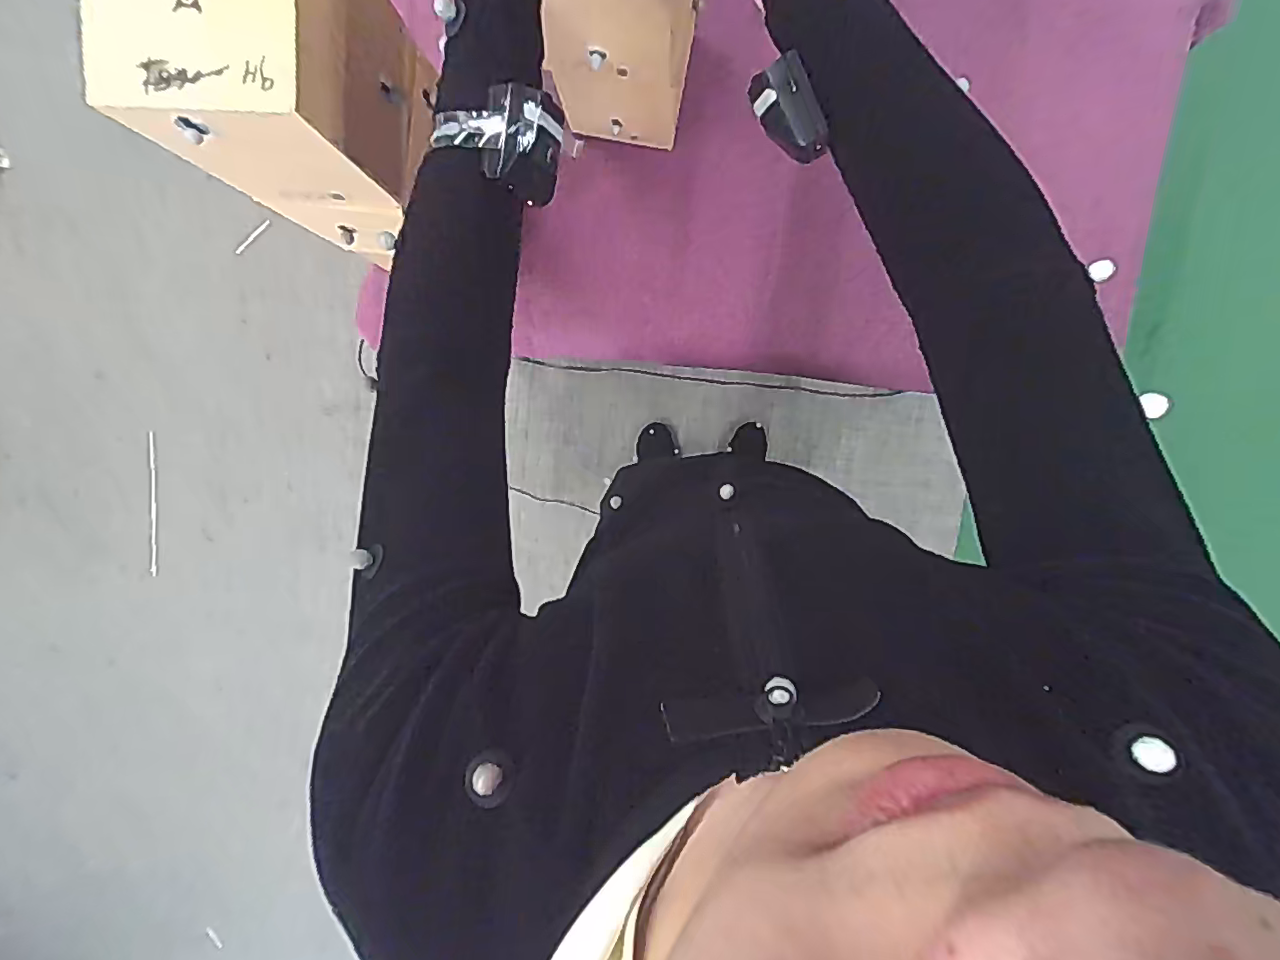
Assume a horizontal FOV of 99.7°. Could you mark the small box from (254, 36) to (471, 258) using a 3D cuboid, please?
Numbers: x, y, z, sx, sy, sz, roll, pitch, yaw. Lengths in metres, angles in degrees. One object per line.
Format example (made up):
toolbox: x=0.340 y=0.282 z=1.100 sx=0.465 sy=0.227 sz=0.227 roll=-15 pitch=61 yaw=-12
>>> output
small box: x=-0.312 y=-0.380 z=0.639 sx=0.168 sy=0.176 sz=0.179 roll=7 pitch=95 yaw=3

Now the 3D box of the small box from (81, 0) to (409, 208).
small box: x=-0.322 y=-0.368 z=0.474 sx=0.168 sy=0.176 sz=0.179 roll=5 pitch=94 yaw=4

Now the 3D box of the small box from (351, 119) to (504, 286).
small box: x=-0.308 y=-0.404 z=0.799 sx=0.168 sy=0.176 sz=0.179 roll=7 pitch=97 yaw=2

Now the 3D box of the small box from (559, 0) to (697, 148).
small box: x=-0.016 y=-0.611 z=0.760 sx=0.168 sy=0.176 sz=0.179 roll=12 pitch=98 yaw=2

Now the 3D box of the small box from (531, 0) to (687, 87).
small box: x=-0.030 y=-0.586 z=0.598 sx=0.168 sy=0.176 sz=0.179 roll=10 pitch=98 yaw=2
